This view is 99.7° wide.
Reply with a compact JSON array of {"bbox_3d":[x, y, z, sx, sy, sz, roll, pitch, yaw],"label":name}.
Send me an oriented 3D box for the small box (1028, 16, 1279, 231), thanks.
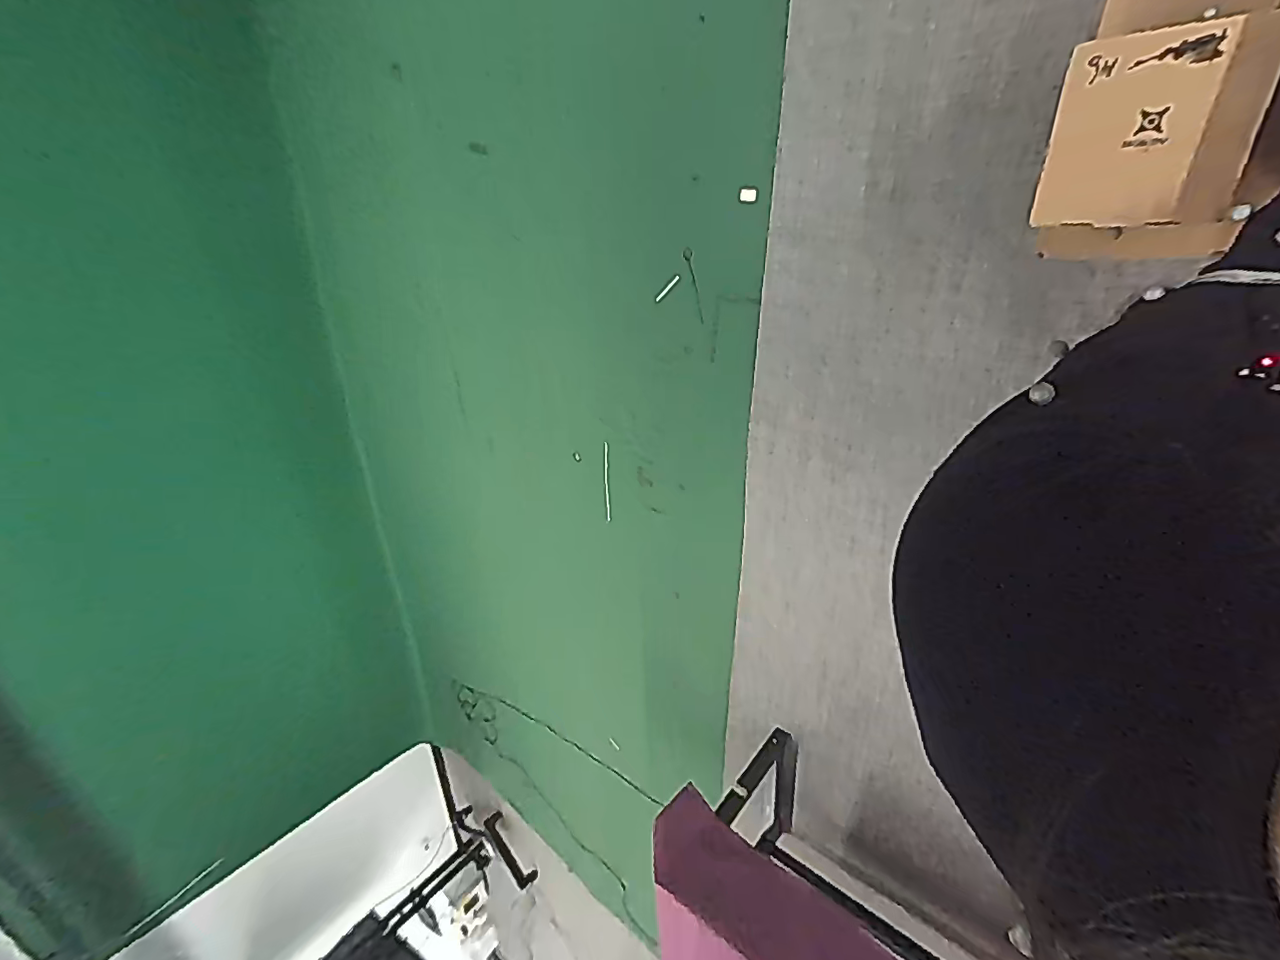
[{"bbox_3d":[0.573,-0.384,0.613,0.168,0.176,0.179,19,123,35],"label":"small box"}]
